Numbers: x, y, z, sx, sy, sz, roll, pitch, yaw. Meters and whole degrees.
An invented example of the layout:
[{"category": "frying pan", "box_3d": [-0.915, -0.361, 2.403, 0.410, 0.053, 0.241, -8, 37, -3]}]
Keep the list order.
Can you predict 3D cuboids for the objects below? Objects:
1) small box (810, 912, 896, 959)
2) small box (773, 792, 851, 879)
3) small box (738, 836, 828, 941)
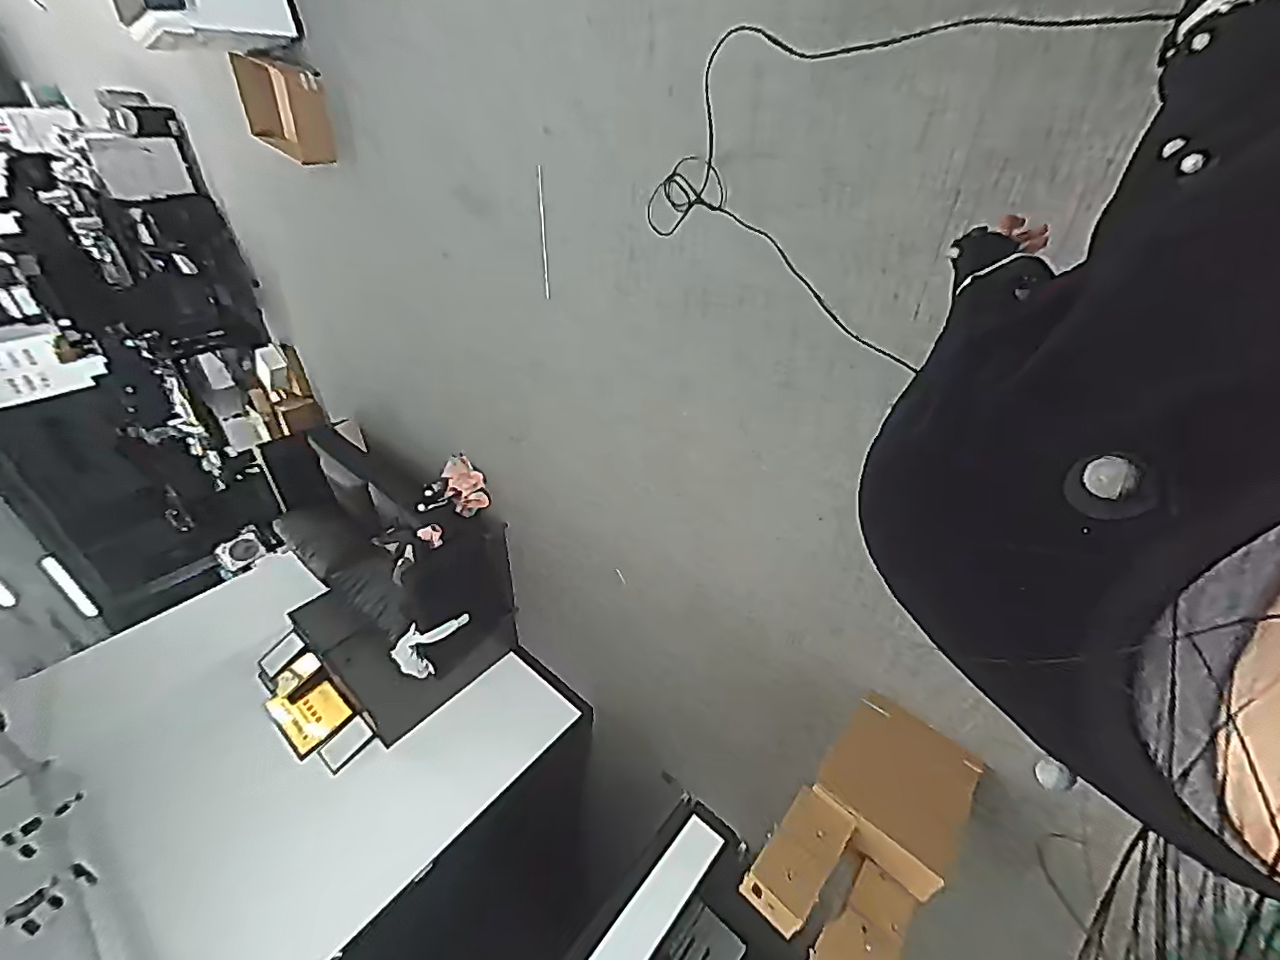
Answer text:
[{"category": "small box", "box_3d": [0.607, 1.404, 1.558, 0.168, 0.176, 0.179, 33, 134, 25]}, {"category": "small box", "box_3d": [0.538, 1.139, 1.713, 0.179, 0.176, 0.168, 32, 132, 28]}, {"category": "small box", "box_3d": [0.426, 1.205, 1.612, 0.179, 0.176, 0.168, 33, 134, 28]}]
